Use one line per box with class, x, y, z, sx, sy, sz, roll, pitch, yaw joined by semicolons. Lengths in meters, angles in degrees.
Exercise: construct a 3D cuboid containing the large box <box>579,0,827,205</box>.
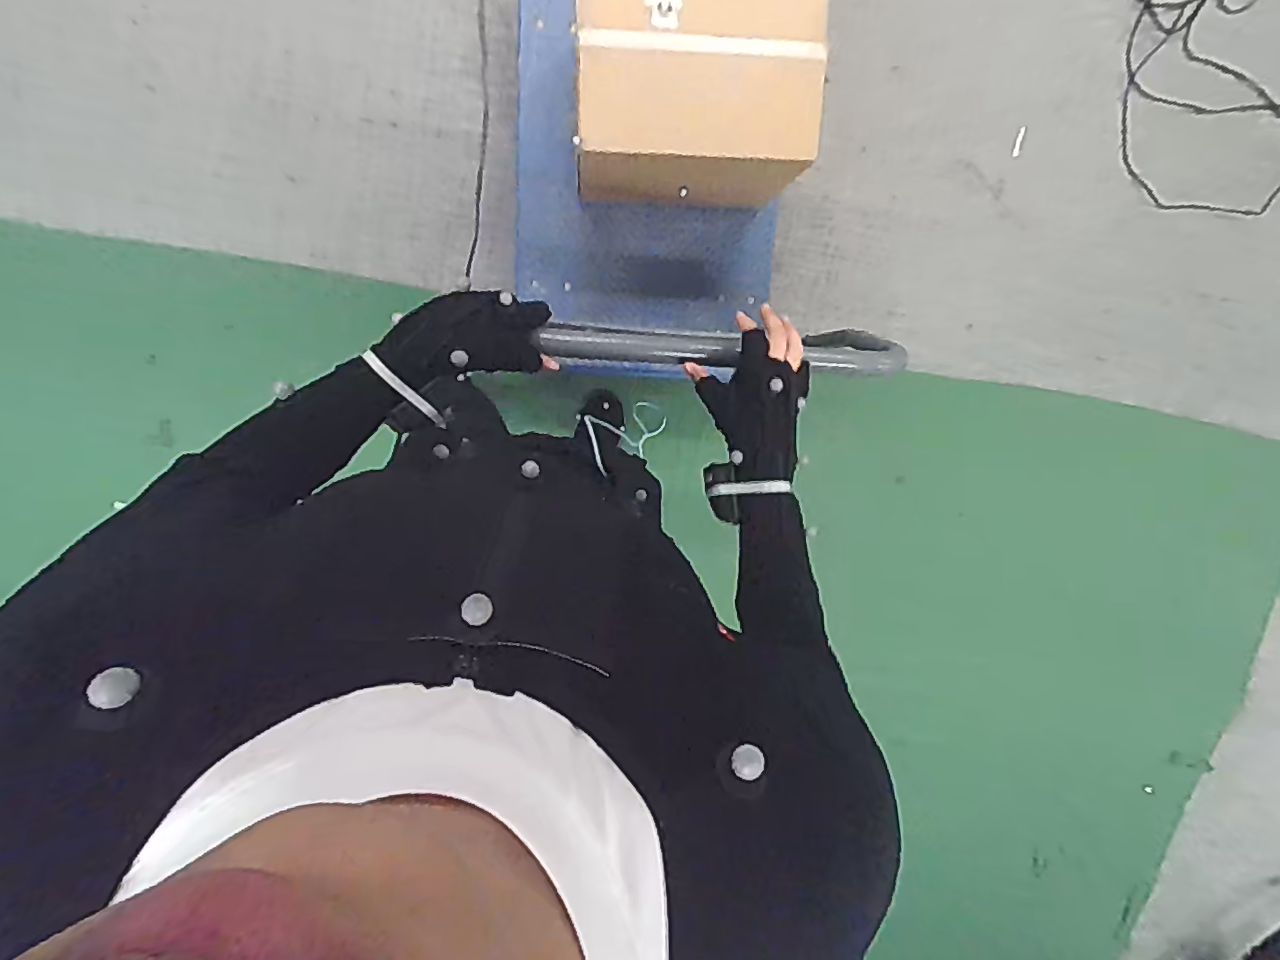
large box;0.092;-0.722;1.016;0.408;0.320;0.320;0;102;-6
